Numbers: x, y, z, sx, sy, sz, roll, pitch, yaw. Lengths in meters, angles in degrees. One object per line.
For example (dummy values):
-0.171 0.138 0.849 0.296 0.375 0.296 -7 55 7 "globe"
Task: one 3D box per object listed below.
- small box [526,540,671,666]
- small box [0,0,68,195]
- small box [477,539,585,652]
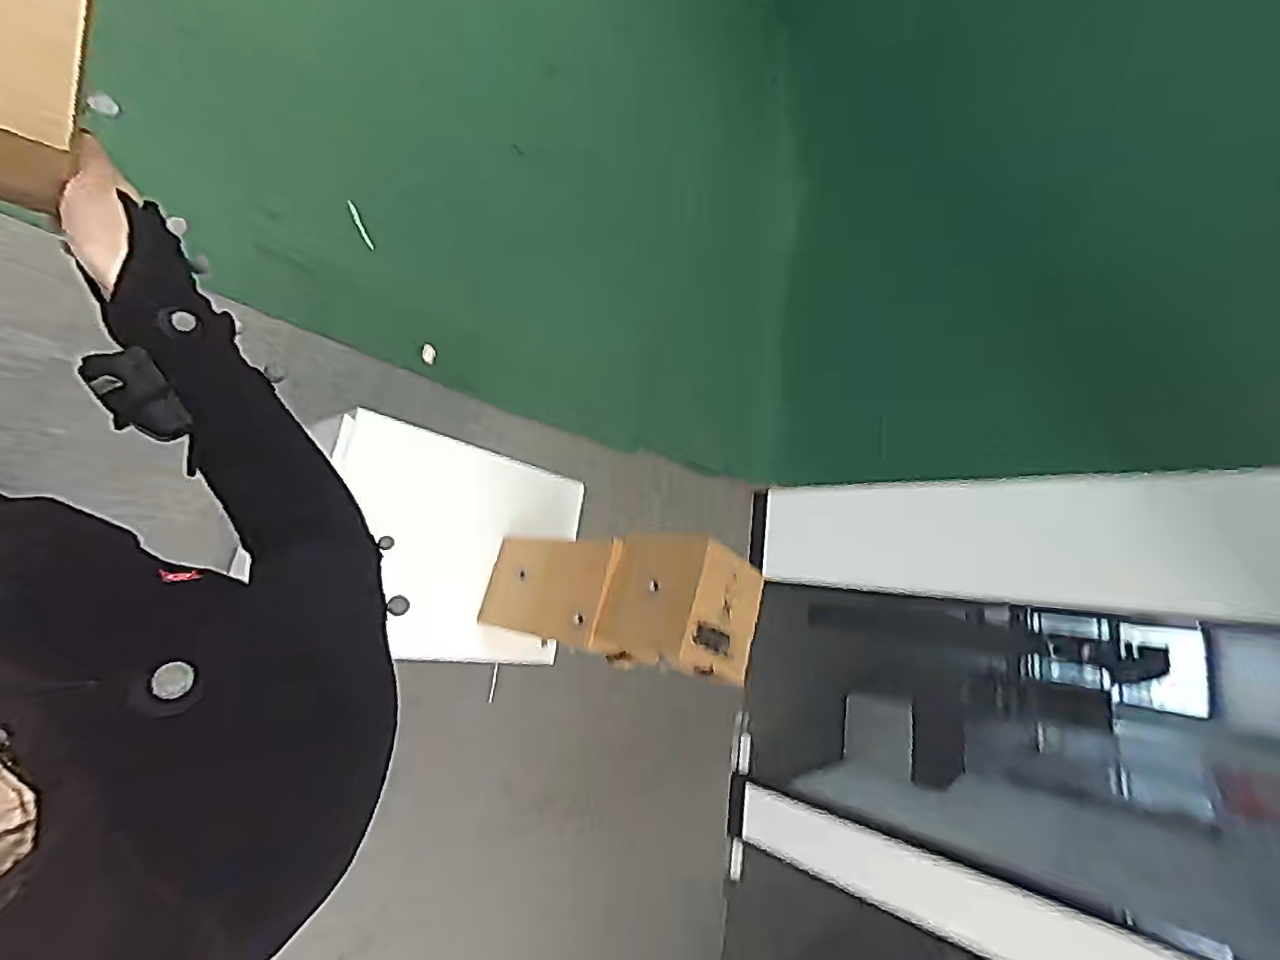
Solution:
-0.073 0.208 0.941 0.168 0.176 0.179 30 67 -41 "small box"
-0.425 -0.276 0.276 0.179 0.176 0.168 6 91 -49 "small box"
-0.190 0.221 1.054 0.168 0.176 0.179 30 65 -41 "small box"
